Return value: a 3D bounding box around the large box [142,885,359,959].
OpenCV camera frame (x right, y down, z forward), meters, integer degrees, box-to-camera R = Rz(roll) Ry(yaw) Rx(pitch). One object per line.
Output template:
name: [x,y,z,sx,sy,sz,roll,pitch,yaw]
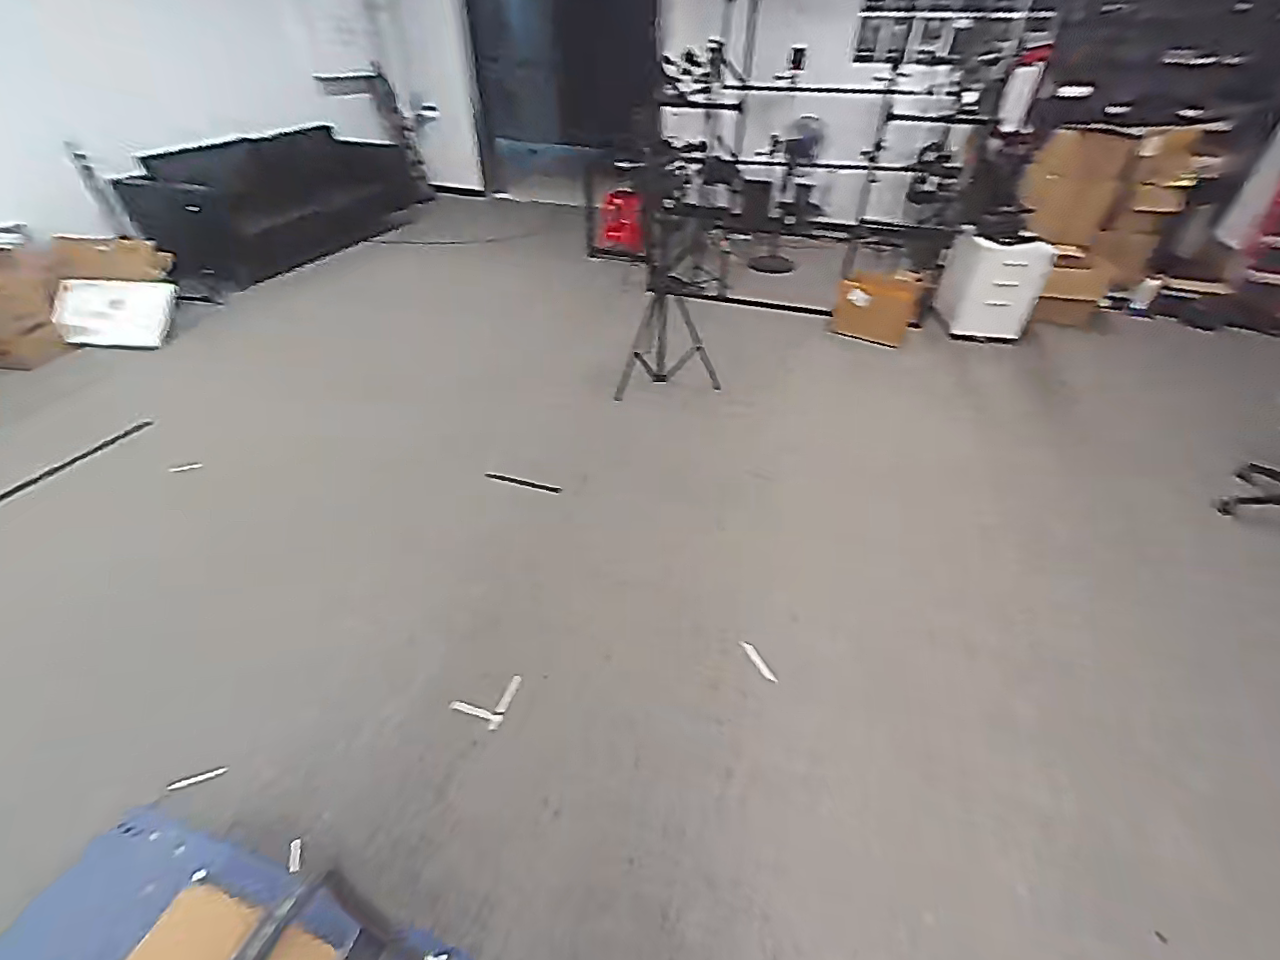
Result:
large box: [-0.623,0.913,0.774,0.320,0.320,0.408,13,39,14]
